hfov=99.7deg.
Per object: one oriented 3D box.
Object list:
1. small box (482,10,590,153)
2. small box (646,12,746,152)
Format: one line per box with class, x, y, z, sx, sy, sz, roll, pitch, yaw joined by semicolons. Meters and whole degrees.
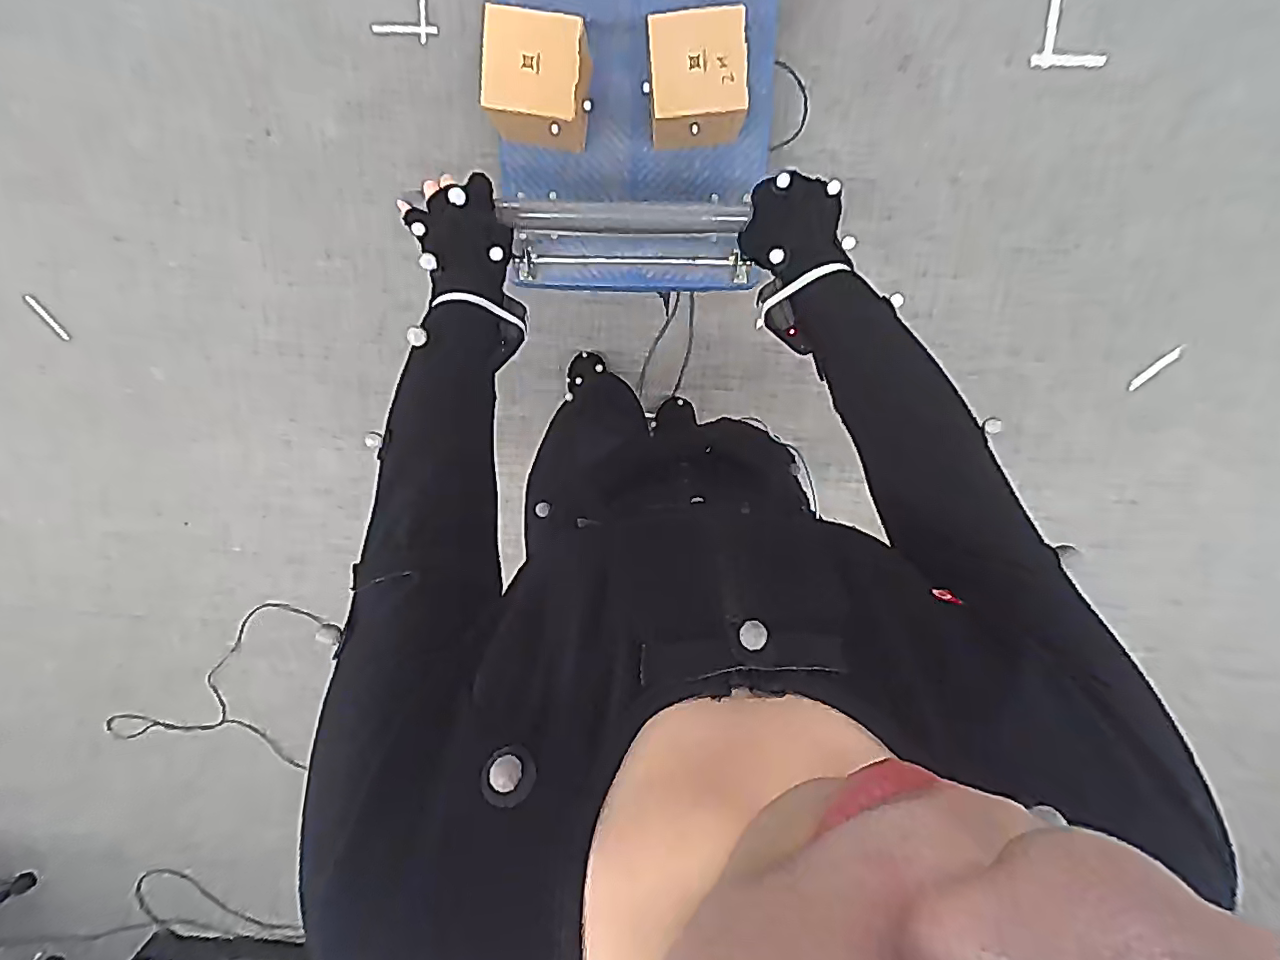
small box;-0.198;-0.771;1.066;0.179;0.176;0.168;6;102;-2
small box;0.106;-0.767;1.062;0.179;0.176;0.168;-4;103;2
